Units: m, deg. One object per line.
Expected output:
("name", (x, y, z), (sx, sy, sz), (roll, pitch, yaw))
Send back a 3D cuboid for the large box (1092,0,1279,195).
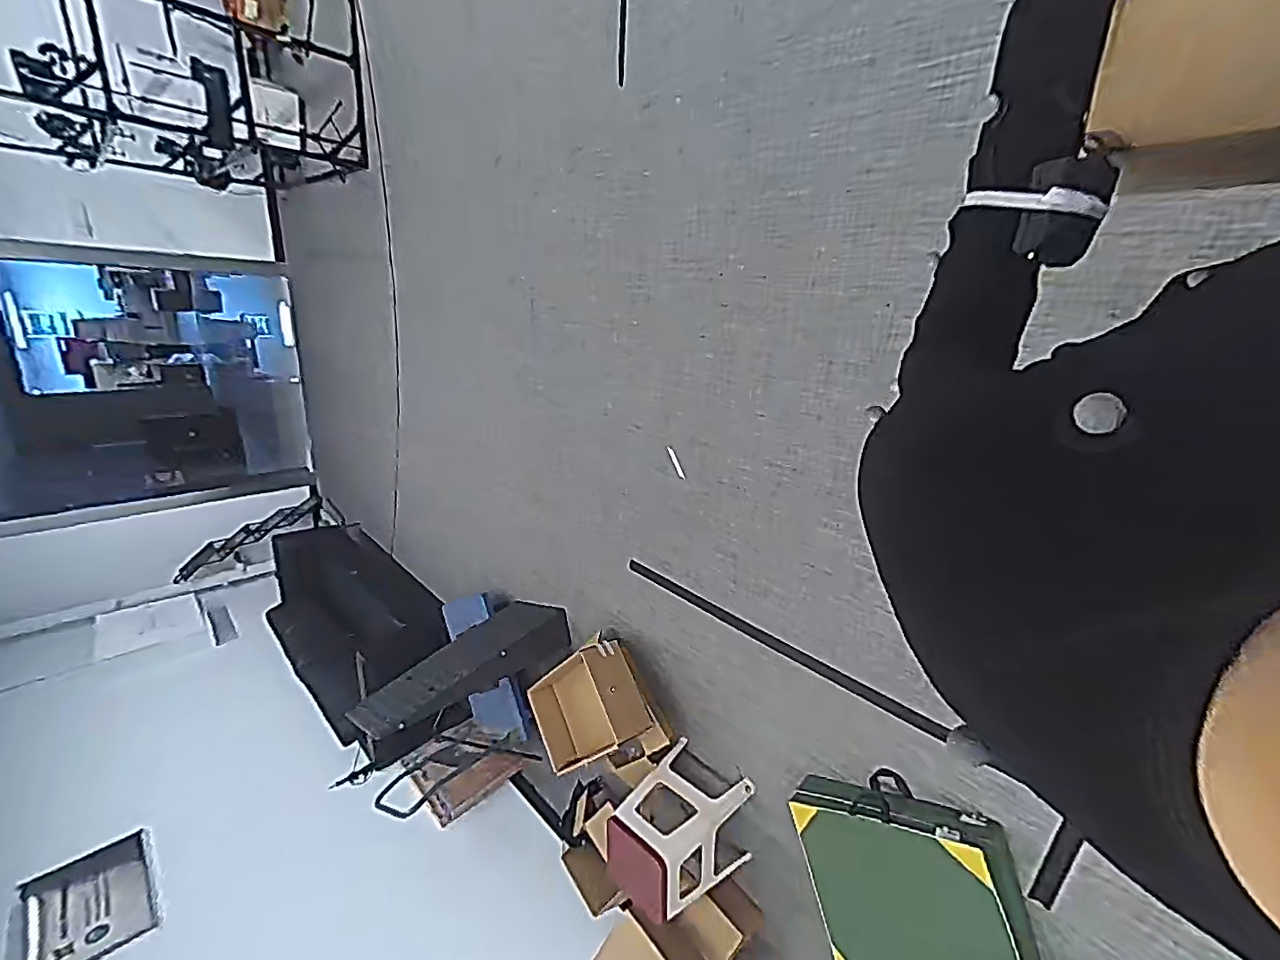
("large box", (0.557, -0.375, 0.310), (0.408, 0.320, 0.320), (16, 117, 39))
